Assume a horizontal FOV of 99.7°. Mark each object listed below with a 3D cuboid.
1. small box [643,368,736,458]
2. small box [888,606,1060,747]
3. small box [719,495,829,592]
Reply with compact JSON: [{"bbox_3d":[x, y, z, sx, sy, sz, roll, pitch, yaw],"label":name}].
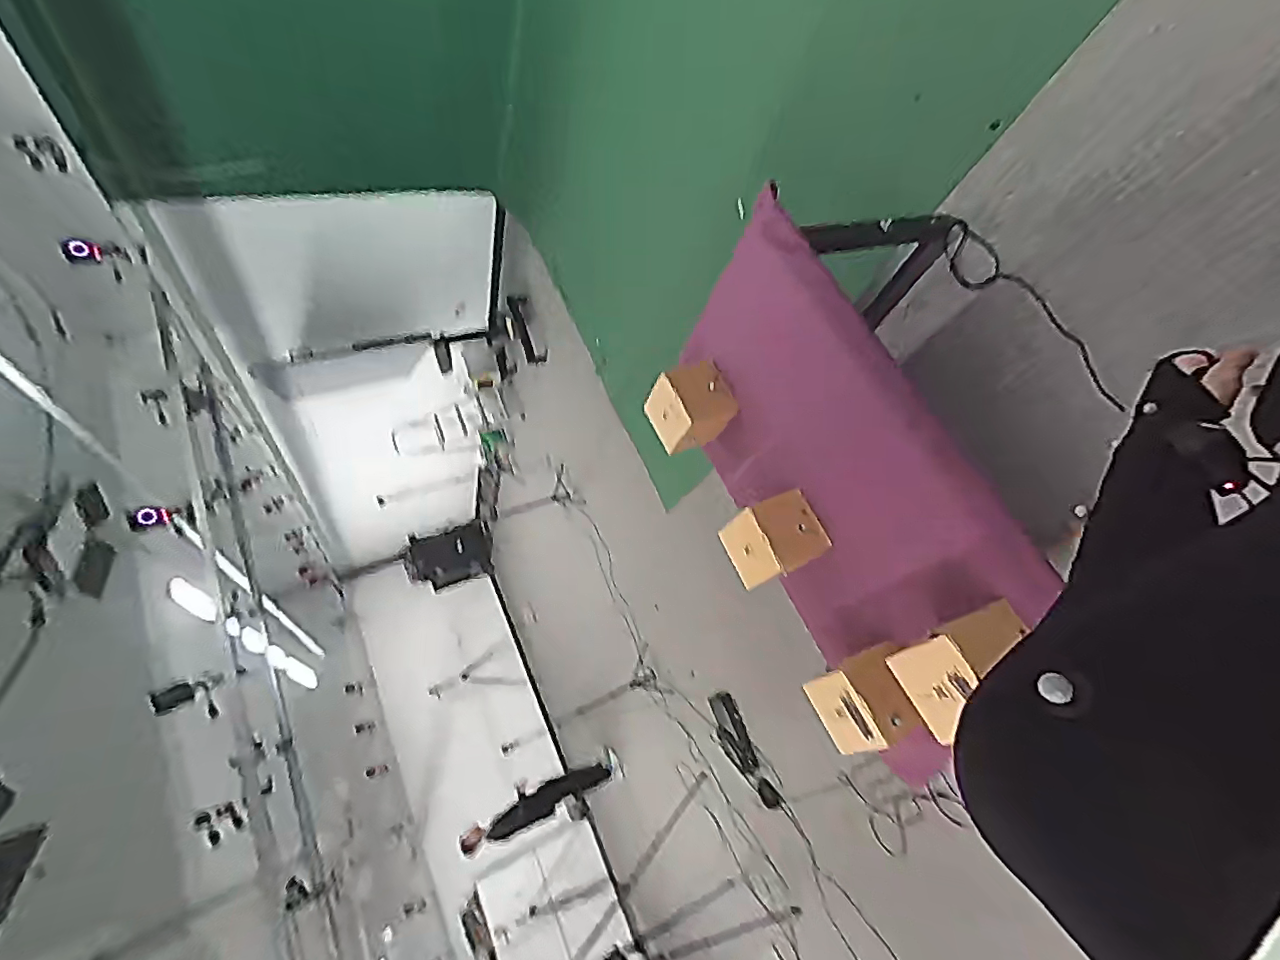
[{"bbox_3d":[0.139,-0.188,1.516,0.168,0.176,0.179,61,151,16],"label":"small box"},{"bbox_3d":[0.598,0.348,0.966,0.168,0.176,0.179,61,153,23],"label":"small box"},{"bbox_3d":[0.336,0.160,1.363,0.168,0.176,0.179,63,151,19],"label":"small box"}]
